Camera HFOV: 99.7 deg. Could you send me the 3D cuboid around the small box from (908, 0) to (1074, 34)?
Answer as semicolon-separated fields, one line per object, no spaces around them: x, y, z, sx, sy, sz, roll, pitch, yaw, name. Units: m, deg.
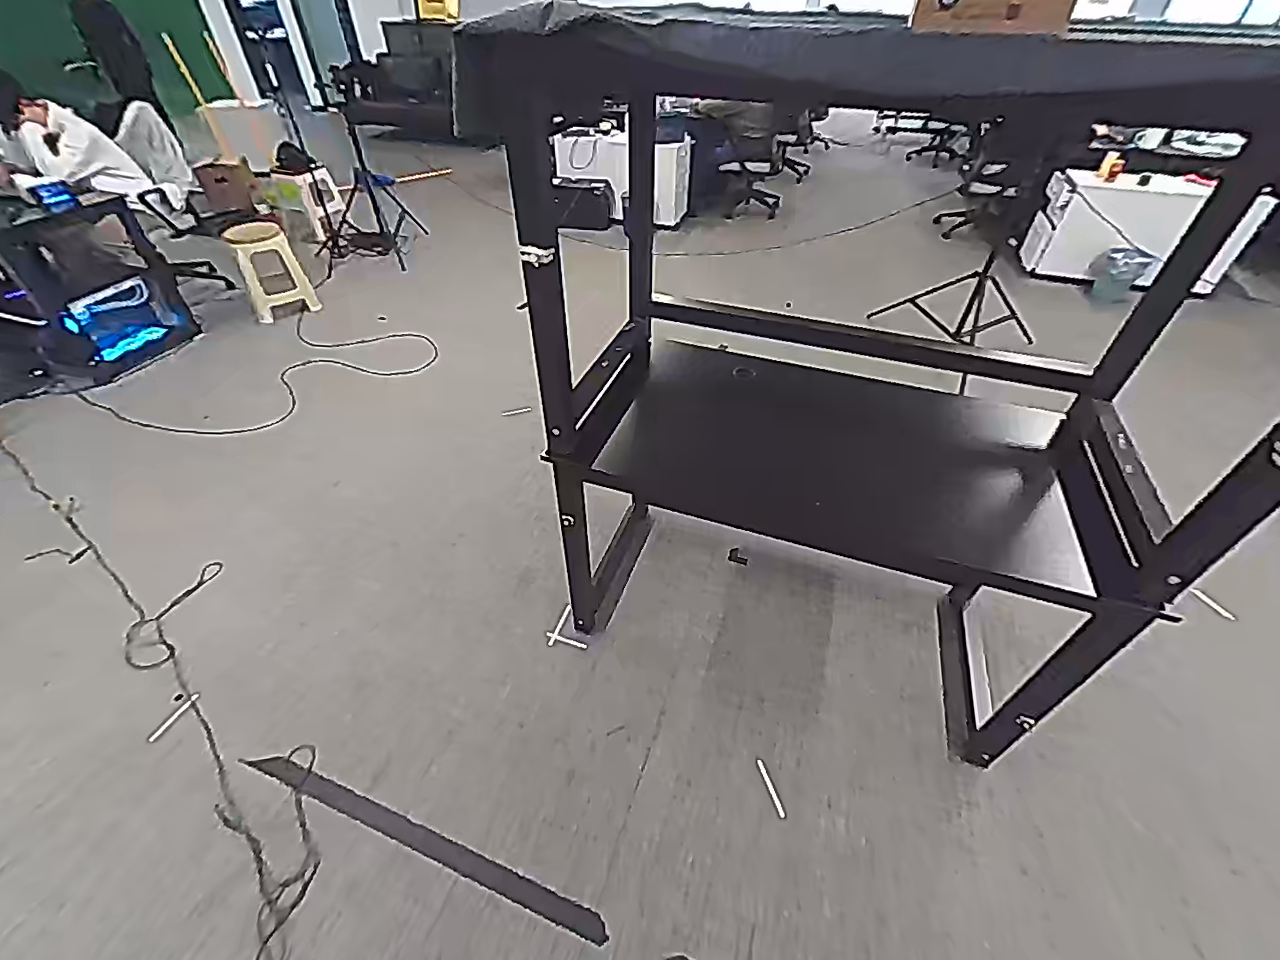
0.426;-0.630;0.629;0.168;0.176;0.179;14;42;14;small box
